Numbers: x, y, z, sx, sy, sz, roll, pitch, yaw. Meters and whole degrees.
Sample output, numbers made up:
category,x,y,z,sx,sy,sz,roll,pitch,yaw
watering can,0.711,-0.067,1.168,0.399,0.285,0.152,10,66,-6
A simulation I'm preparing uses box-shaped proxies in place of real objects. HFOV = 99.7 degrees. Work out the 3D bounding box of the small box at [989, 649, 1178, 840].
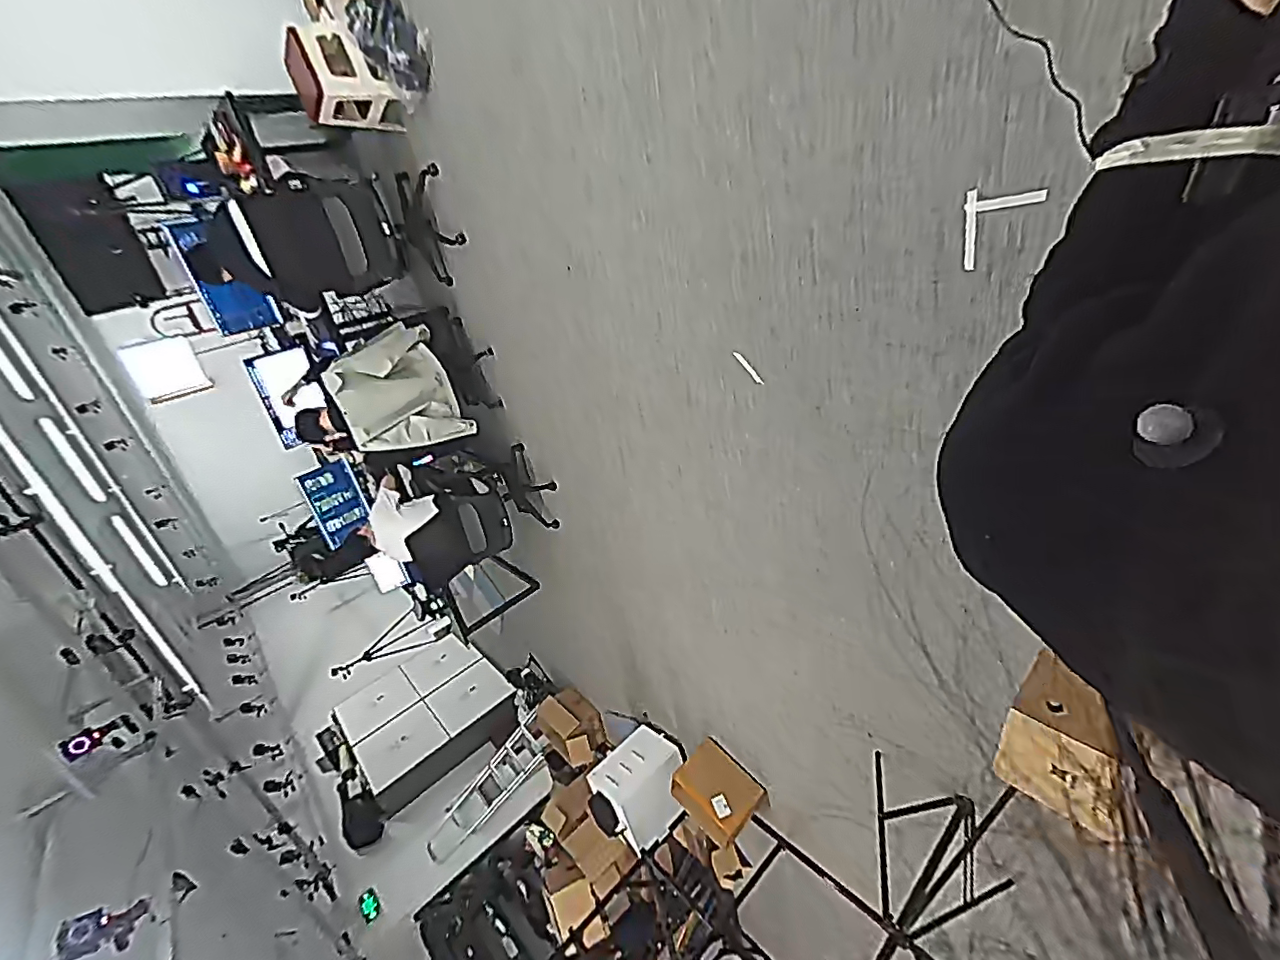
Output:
category,x,y,z,sx,sy,sz,roll,pitch,yaw
small box,0.685,0.395,0.844,0.179,0.176,0.168,22,132,43
